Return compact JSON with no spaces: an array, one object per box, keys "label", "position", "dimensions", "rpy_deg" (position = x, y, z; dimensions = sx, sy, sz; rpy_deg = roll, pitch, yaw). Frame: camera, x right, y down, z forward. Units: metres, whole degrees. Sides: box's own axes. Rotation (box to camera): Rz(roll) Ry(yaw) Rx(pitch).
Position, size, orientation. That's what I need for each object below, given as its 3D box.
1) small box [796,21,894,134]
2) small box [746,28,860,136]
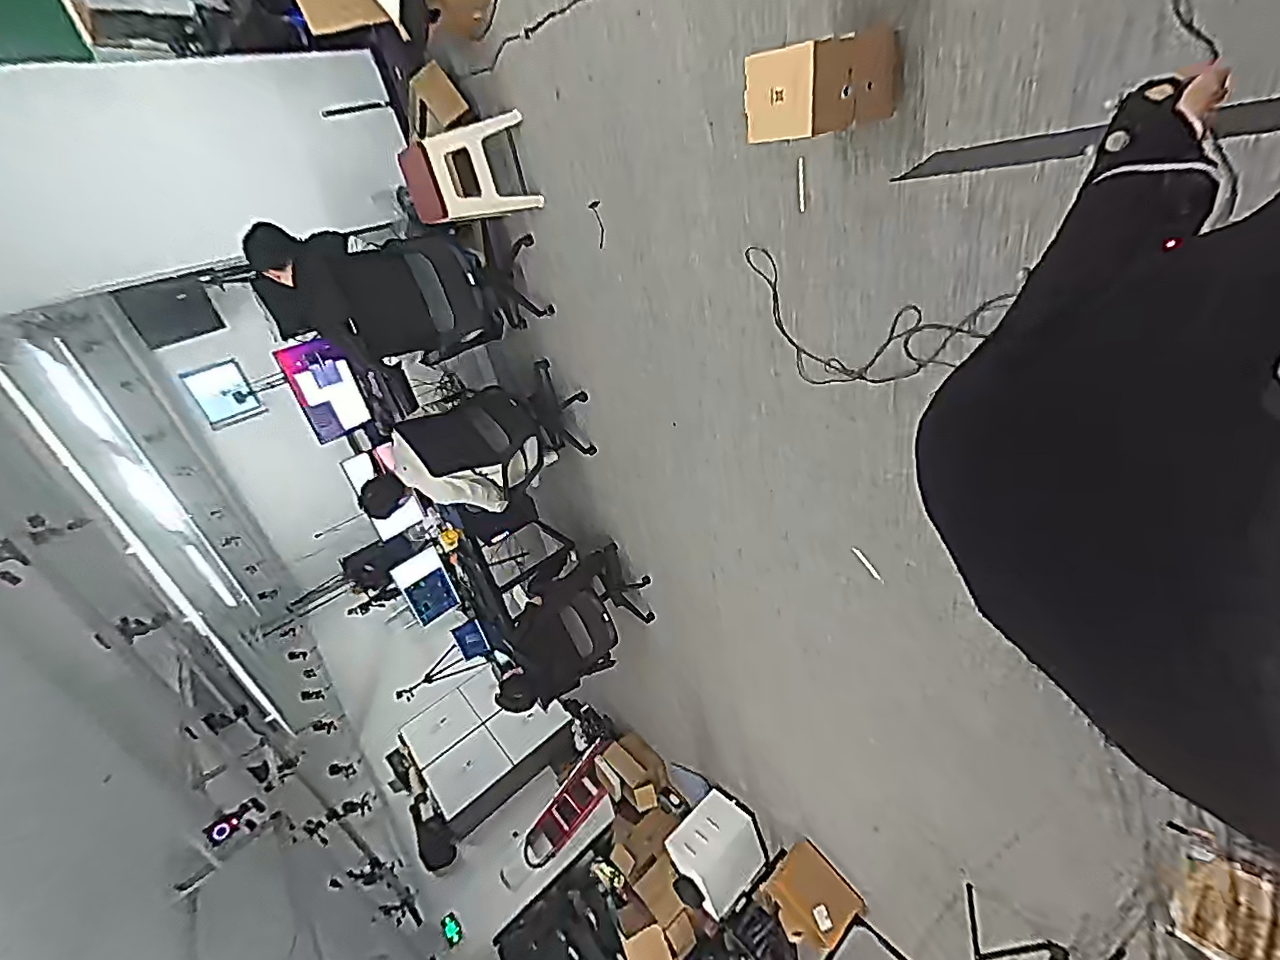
[{"label":"small box","position":[0.479,-0.944,1.273],"dimensions":[0.168,0.176,0.179],"rpy_deg":[22,136,46]},{"label":"small box","position":[0.356,-0.873,1.192],"dimensions":[0.179,0.176,0.168],"rpy_deg":[26,138,42]}]
